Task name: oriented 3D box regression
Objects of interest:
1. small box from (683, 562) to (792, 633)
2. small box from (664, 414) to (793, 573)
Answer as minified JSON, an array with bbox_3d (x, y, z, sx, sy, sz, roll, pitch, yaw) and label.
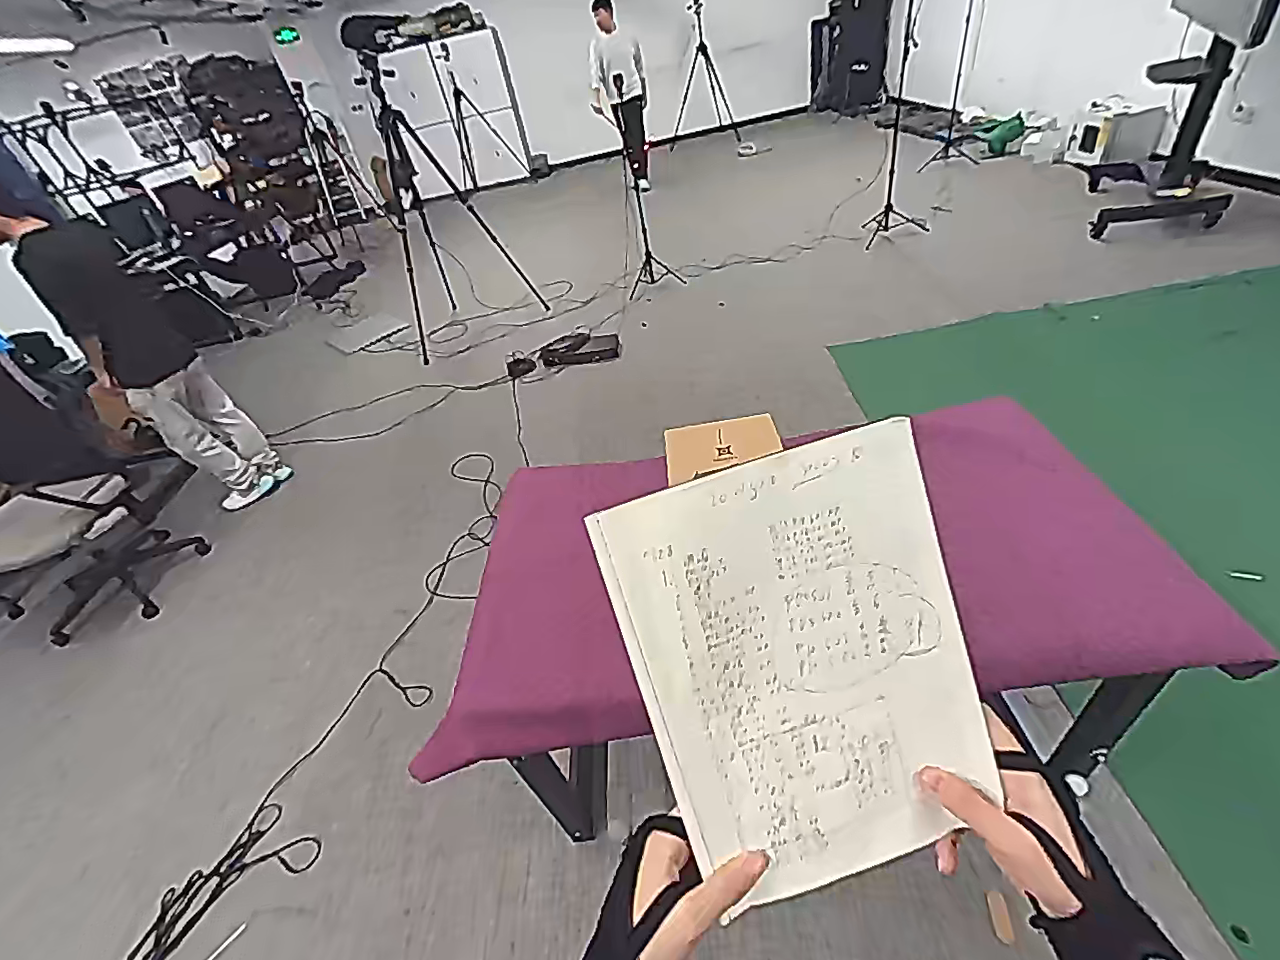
[{"bbox_3d":[0.163,0.148,0.932,0.168,0.176,0.179,-8,40,6],"label":"small box"},{"bbox_3d":[0.133,0.027,0.823,0.168,0.176,0.179,-8,38,6],"label":"small box"}]
